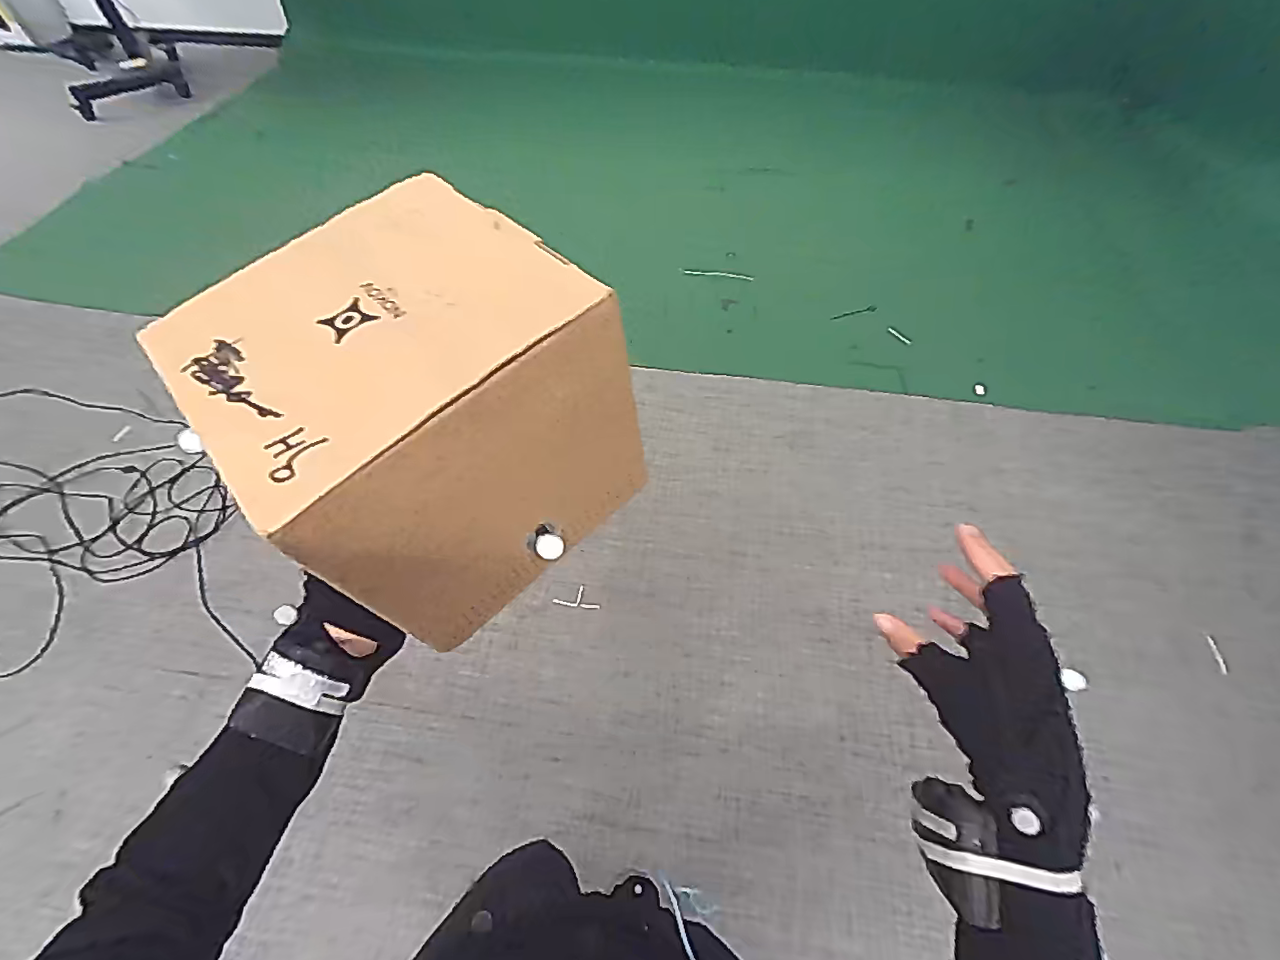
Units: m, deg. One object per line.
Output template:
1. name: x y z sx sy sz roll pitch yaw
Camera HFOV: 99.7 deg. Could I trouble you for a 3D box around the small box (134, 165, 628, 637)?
1. small box: -0.120 -0.041 0.320 0.179 0.176 0.168 -41 62 -18
